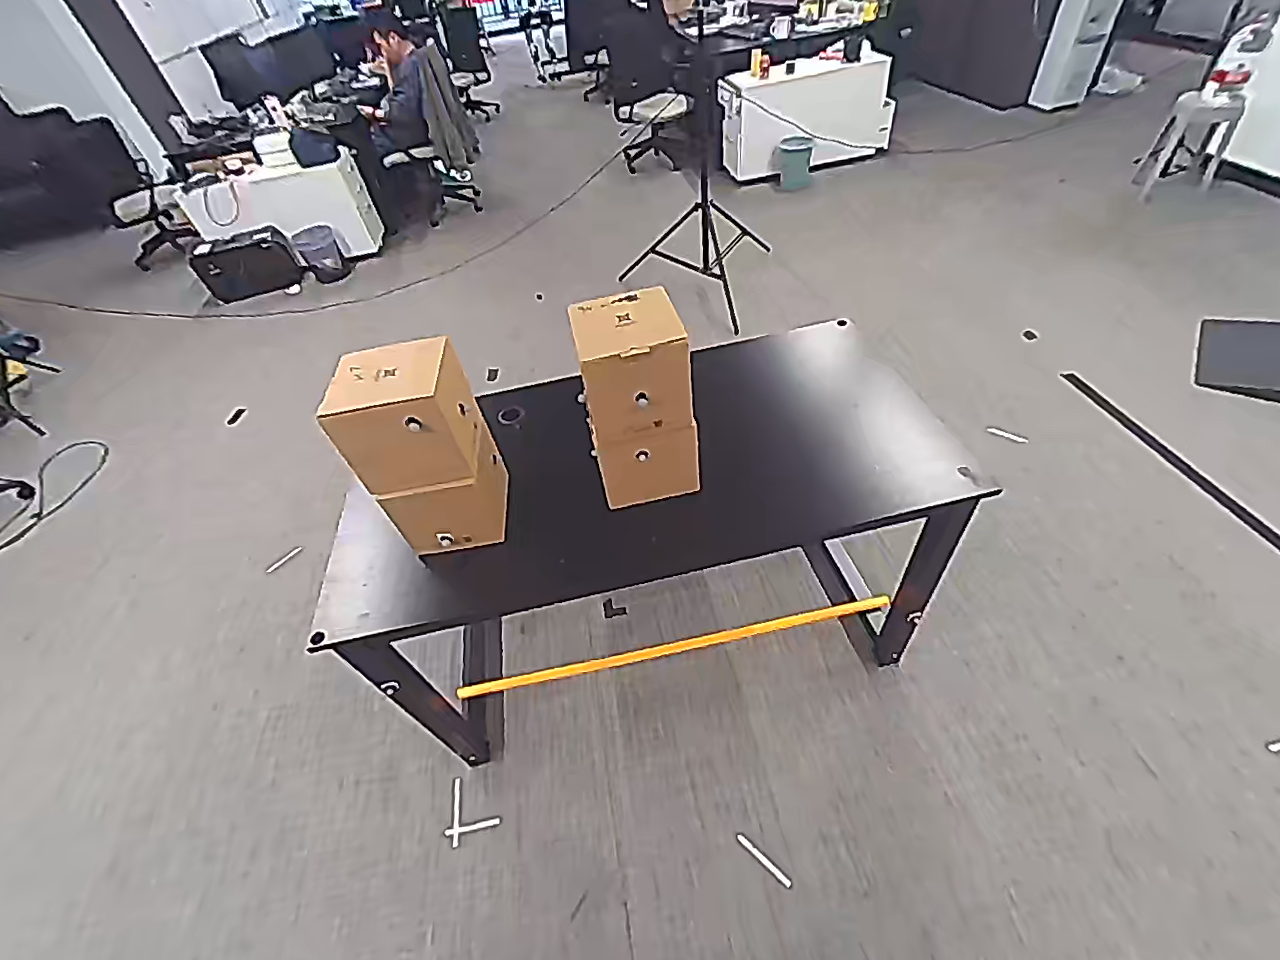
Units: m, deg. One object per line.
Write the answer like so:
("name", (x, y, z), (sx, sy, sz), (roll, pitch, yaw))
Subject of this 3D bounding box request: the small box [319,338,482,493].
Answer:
("small box", (-0.370, -0.102, 0.878), (0.179, 0.176, 0.168), (-11, 46, 1))

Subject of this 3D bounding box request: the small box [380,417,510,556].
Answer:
("small box", (-0.344, 0.014, 0.993), (0.168, 0.176, 0.179), (-11, 47, 1))

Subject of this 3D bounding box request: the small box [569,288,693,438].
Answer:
("small box", (-0.012, -0.187, 0.897), (0.168, 0.176, 0.179), (-13, 47, -3))

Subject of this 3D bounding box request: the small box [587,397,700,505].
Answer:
("small box", (0.008, -0.073, 1.013), (0.179, 0.176, 0.168), (-12, 47, -3))
